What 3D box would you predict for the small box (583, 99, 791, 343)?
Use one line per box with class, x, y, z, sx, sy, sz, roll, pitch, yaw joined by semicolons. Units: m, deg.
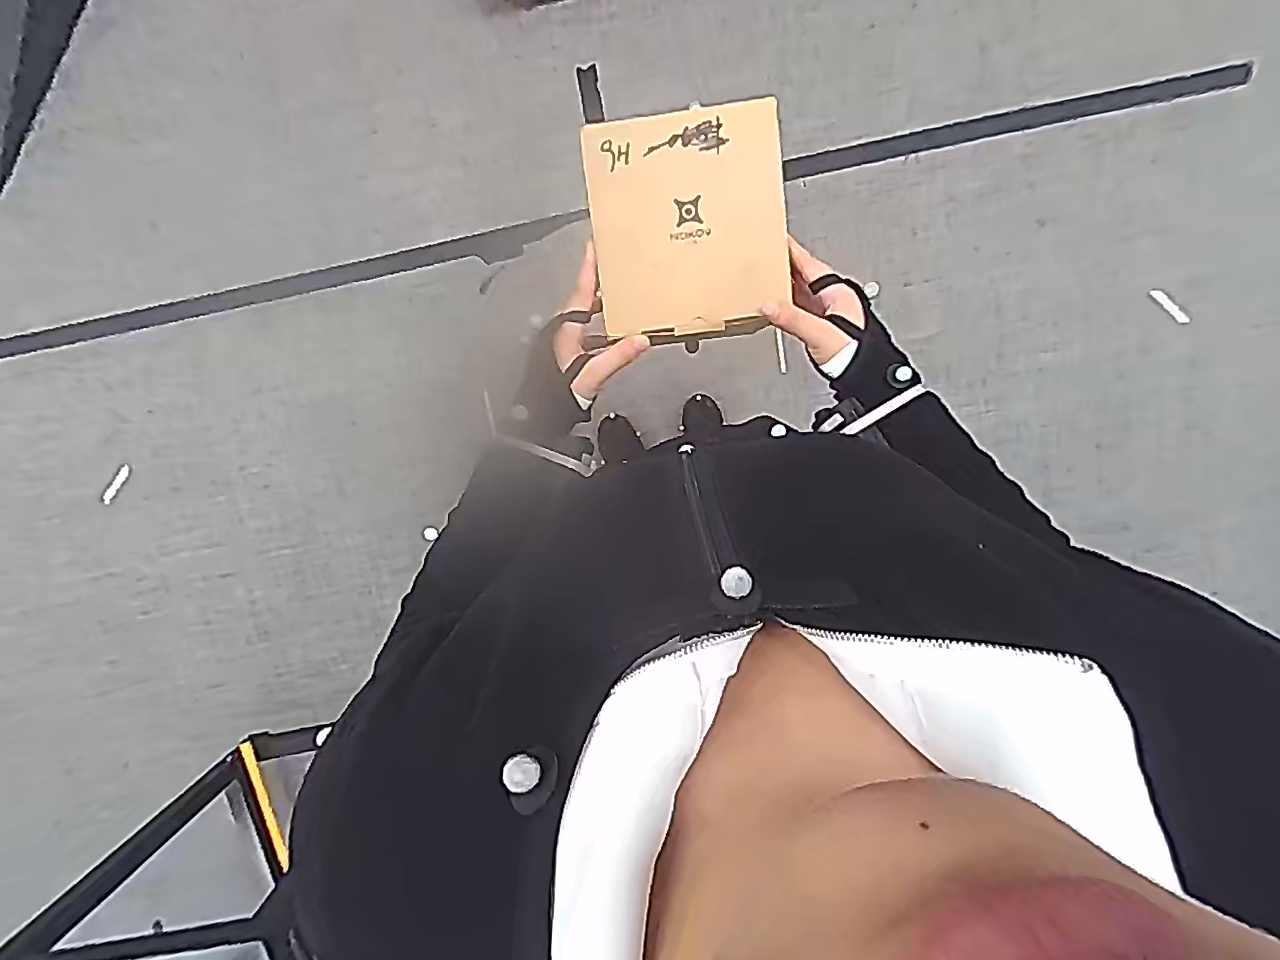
small box;0.045;-0.233;0.536;0.168;0.176;0.179;-7;102;3
